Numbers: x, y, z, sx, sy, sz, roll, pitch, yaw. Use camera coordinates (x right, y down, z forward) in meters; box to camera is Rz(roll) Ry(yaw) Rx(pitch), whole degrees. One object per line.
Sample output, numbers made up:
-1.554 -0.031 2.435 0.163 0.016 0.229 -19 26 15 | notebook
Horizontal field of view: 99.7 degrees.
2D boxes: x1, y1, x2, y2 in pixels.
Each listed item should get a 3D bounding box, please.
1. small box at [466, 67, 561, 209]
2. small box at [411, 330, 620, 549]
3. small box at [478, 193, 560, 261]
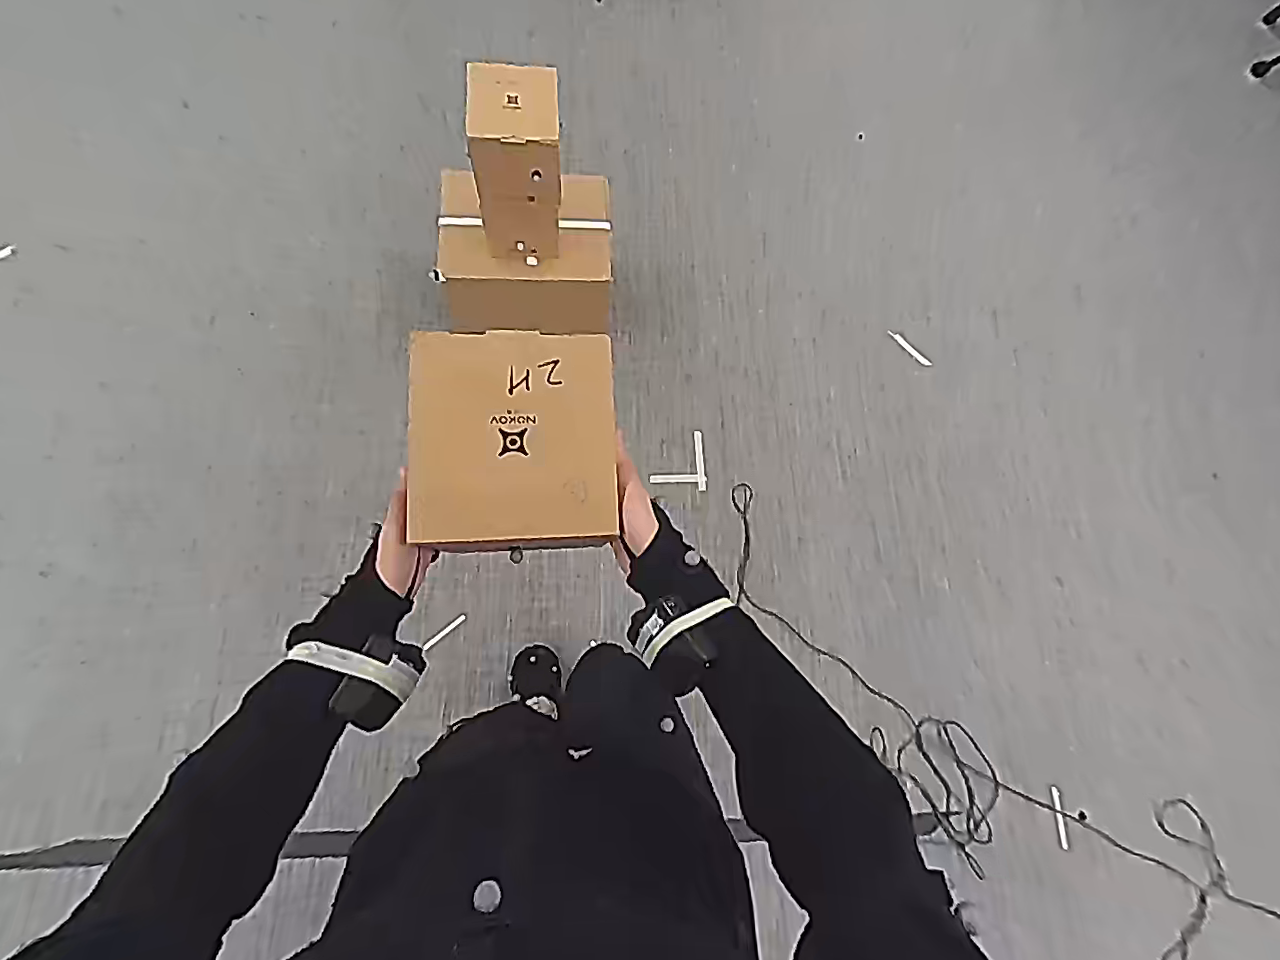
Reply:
-0.242 -0.662 1.063 0.168 0.176 0.179 -3 74 -9 | small box
-0.110 -0.025 0.516 0.168 0.176 0.179 -2 80 -9 | small box
-0.267 -0.626 1.220 0.168 0.176 0.179 -2 75 -7 | small box
